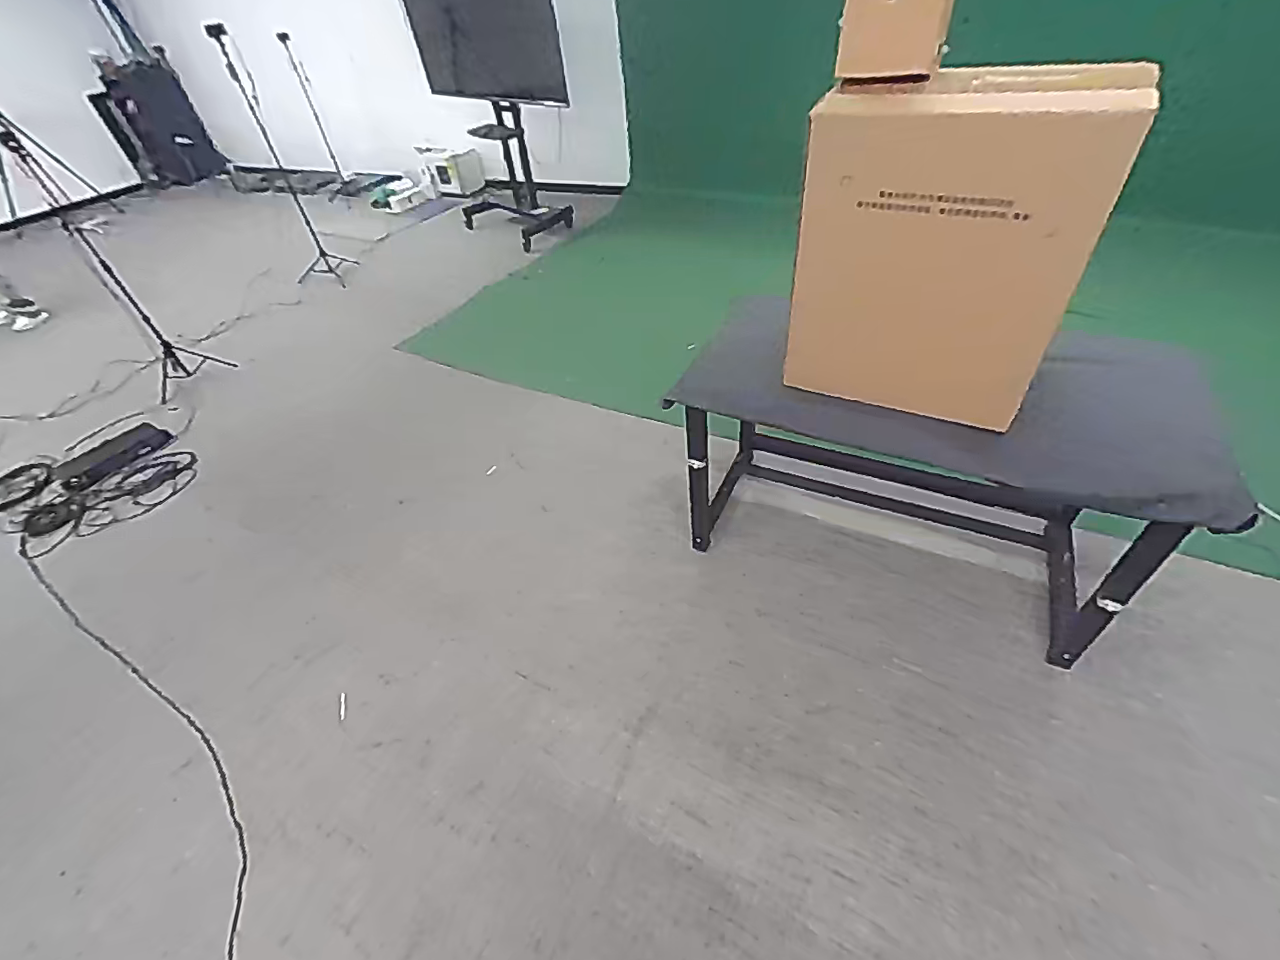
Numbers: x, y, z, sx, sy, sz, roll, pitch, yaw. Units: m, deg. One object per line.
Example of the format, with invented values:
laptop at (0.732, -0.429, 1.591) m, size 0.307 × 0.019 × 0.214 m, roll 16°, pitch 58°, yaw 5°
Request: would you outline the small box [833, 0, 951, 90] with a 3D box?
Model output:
small box at (0.497, -0.876, 1.068) m, size 0.179 × 0.176 × 0.168 m, roll 17°, pitch 41°, yaw 22°
